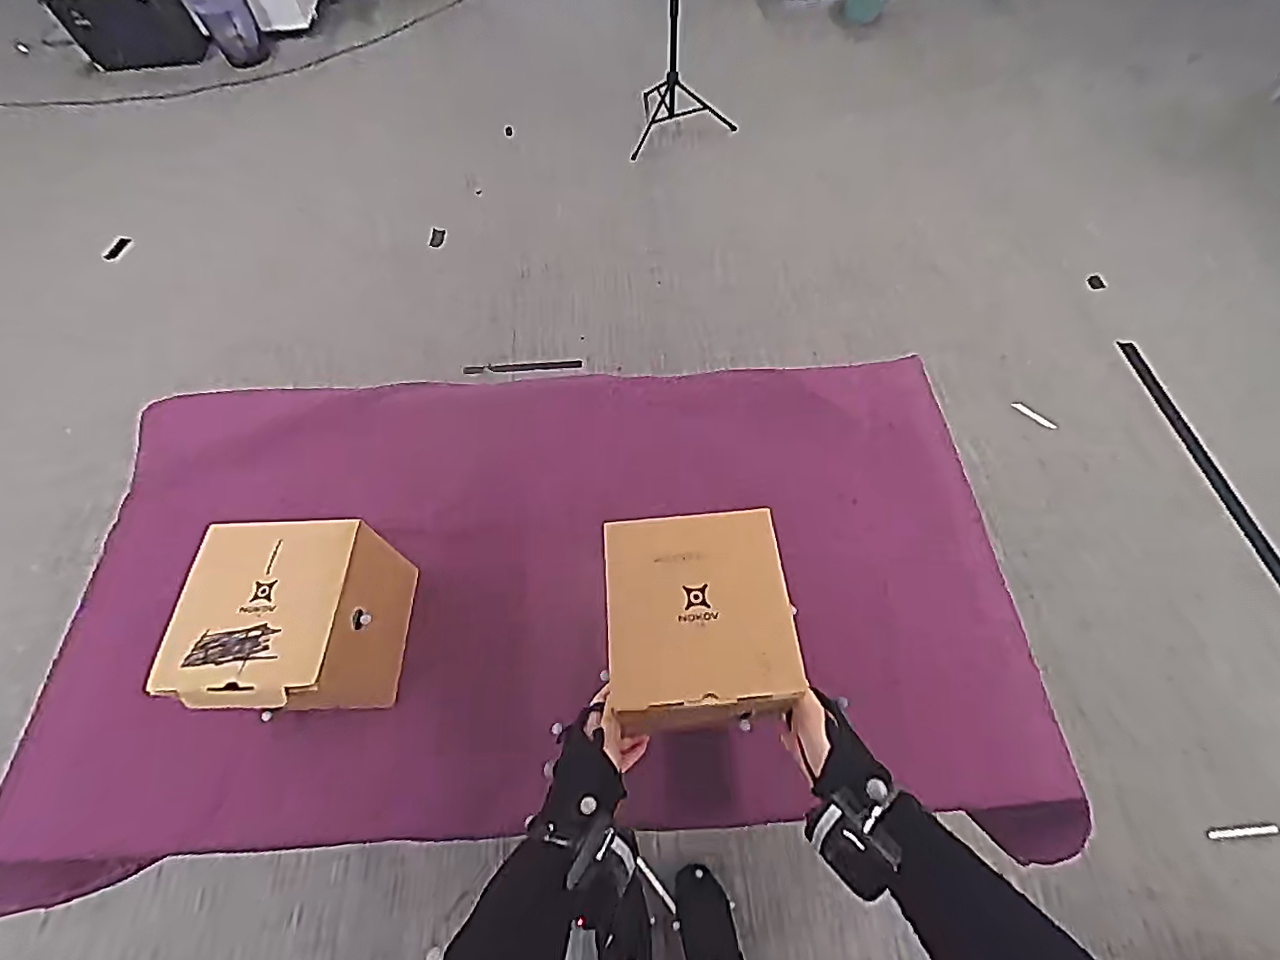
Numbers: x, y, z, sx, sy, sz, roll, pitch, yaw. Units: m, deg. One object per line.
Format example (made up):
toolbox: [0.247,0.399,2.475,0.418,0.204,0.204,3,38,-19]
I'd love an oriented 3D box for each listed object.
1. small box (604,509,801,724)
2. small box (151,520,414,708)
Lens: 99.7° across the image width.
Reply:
small box: [0.054,0.149,0.558,0.168,0.176,0.179,-5,59,1]
small box: [-0.379,0.160,0.616,0.168,0.176,0.179,-2,61,1]
